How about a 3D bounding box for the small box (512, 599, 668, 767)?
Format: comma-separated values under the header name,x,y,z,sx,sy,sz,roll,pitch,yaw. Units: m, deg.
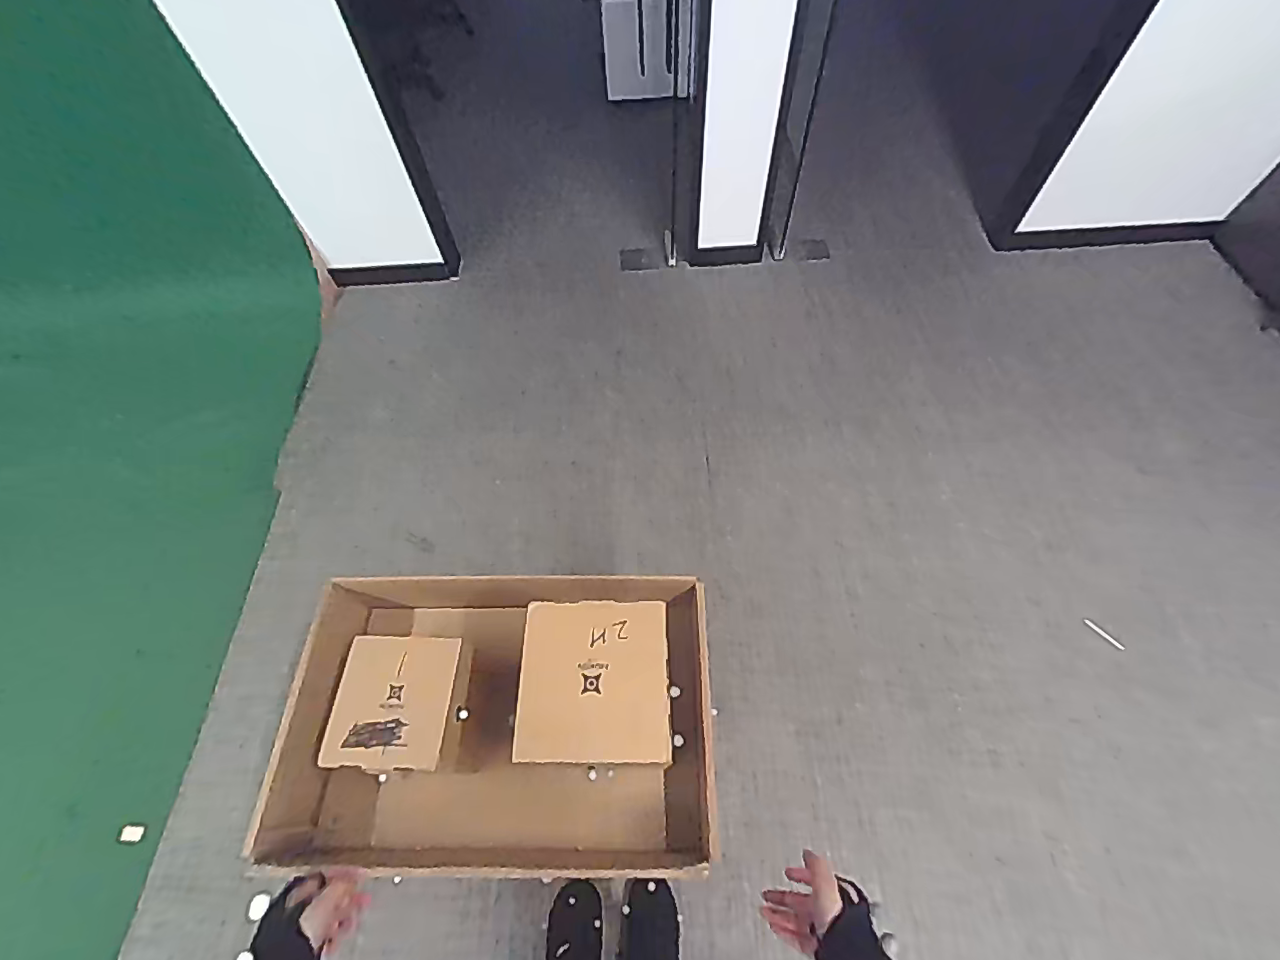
name,x,y,z,sx,sy,sz,roll,pitch,yaw
small box,-0.049,0.258,0.676,0.168,0.176,0.179,0,60,2
